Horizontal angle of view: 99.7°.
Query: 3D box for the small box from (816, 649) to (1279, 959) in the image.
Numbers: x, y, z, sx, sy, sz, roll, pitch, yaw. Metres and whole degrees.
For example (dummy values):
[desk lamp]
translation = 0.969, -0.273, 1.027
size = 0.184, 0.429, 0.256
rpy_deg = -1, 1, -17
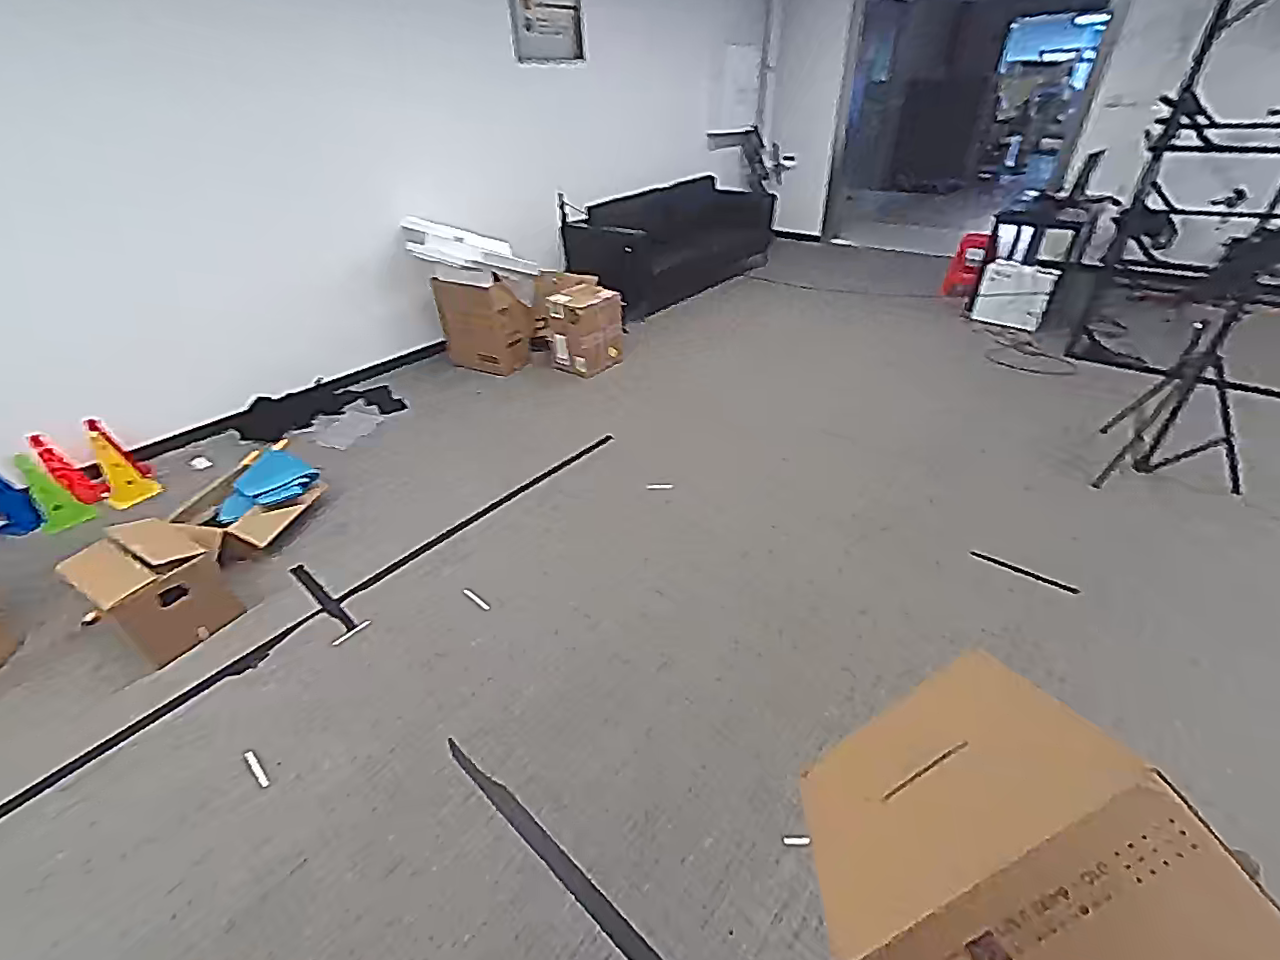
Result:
[small box]
translation = 0.221, 0.226, 0.300
size = 0.168, 0.176, 0.179
rpy_deg = -38, -7, 8
